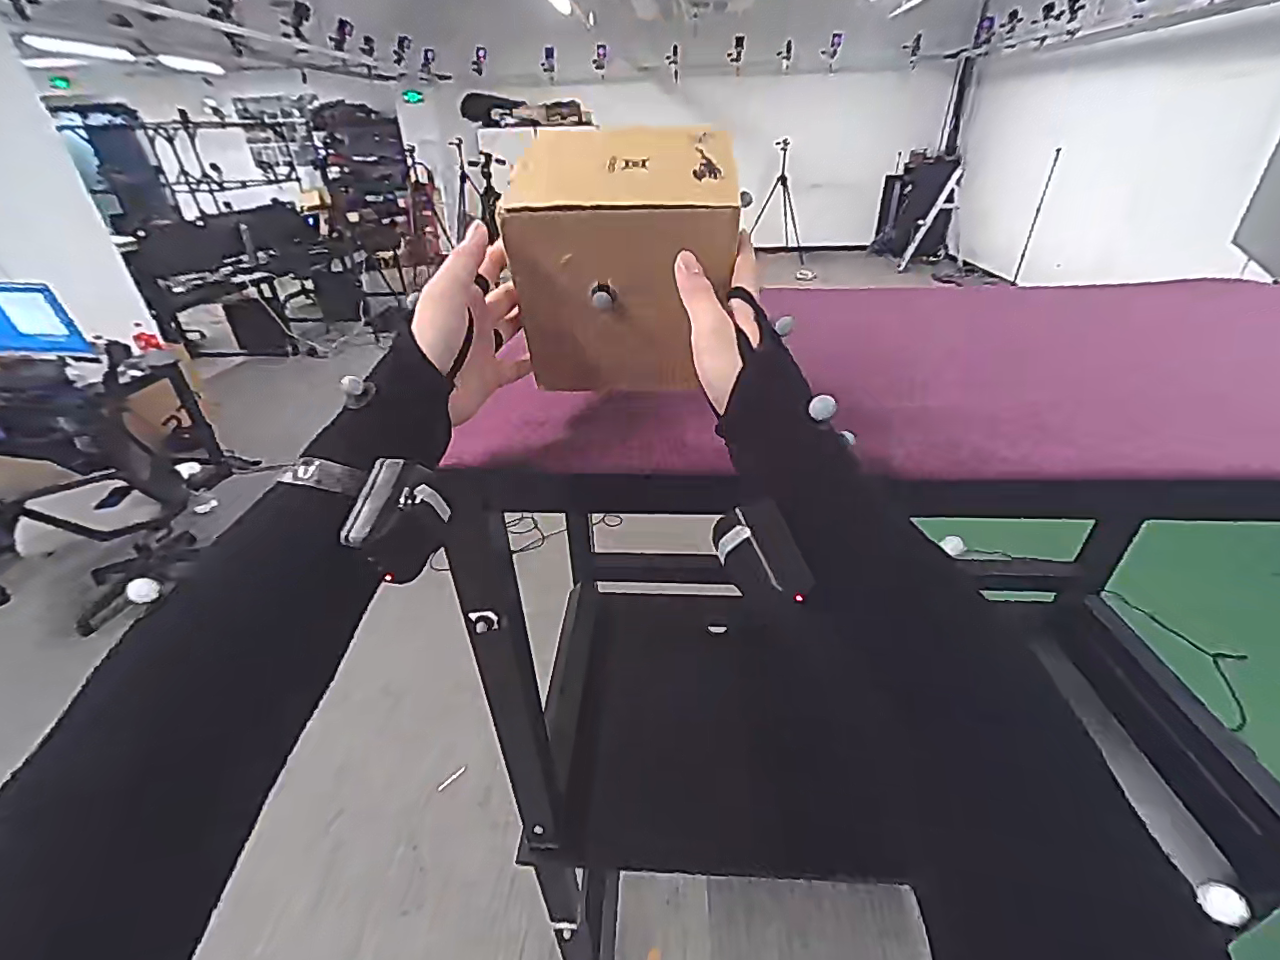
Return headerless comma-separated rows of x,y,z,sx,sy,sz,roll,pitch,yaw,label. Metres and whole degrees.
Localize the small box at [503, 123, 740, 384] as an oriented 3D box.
-0.005,-0.201,0.497,0.179,0.176,0.168,0,50,4,small box
